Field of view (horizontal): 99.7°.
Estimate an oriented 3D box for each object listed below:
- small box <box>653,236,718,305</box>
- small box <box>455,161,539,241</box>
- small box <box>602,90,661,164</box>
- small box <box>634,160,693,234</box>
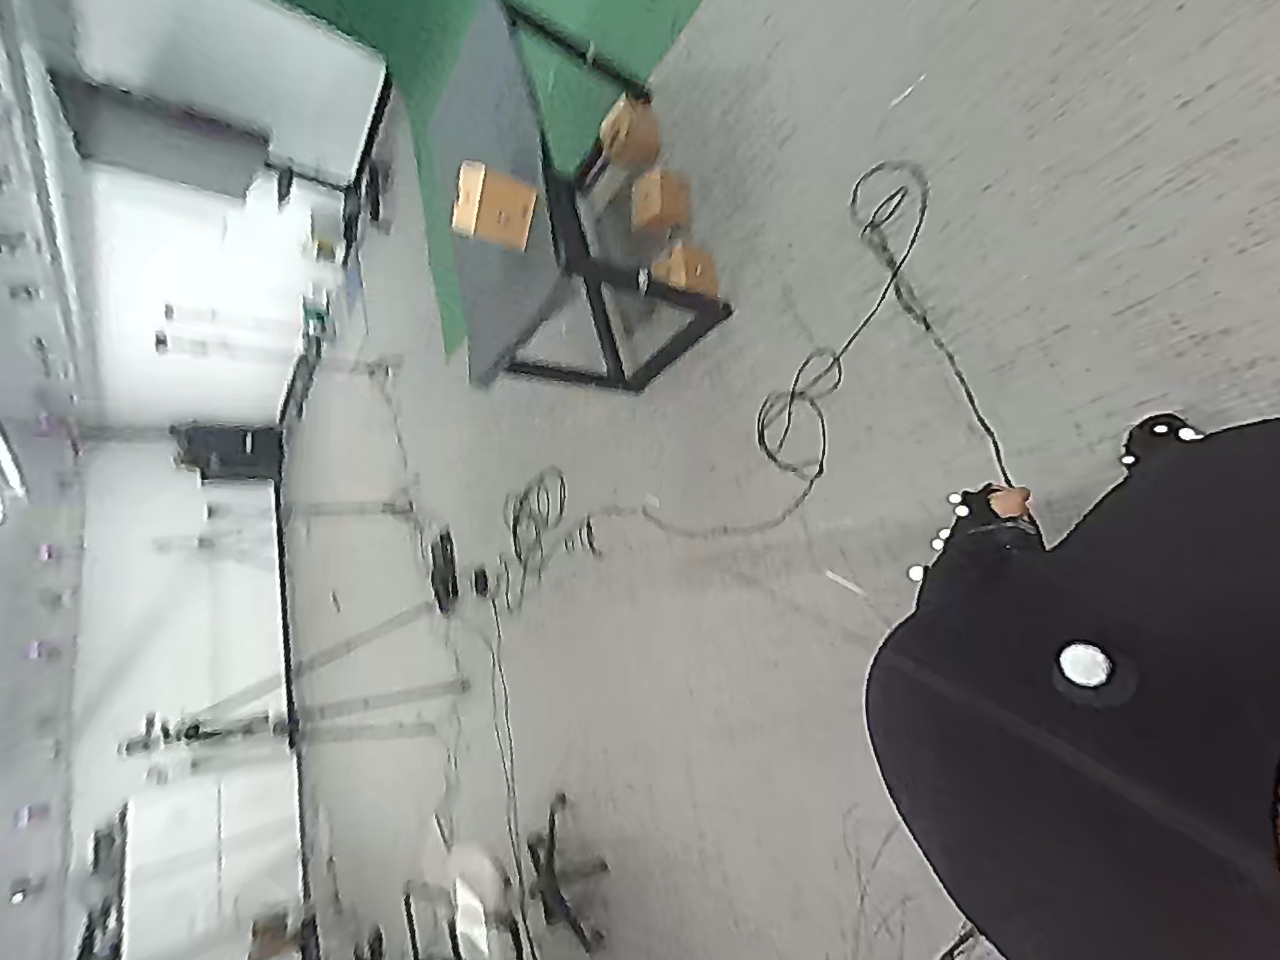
[{"bbox_3d":[0.172,-0.767,2.011,0.168,0.176,0.179,-16,79,47],"label":"small box"},{"bbox_3d":[-0.418,-0.812,1.580,0.179,0.176,0.168,35,115,43],"label":"small box"},{"bbox_3d":[-0.033,-1.453,2.245,0.168,0.176,0.179,-25,71,45],"label":"small box"},{"bbox_3d":[0.092,-1.093,2.102,0.168,0.176,0.179,-4,88,49],"label":"small box"}]
